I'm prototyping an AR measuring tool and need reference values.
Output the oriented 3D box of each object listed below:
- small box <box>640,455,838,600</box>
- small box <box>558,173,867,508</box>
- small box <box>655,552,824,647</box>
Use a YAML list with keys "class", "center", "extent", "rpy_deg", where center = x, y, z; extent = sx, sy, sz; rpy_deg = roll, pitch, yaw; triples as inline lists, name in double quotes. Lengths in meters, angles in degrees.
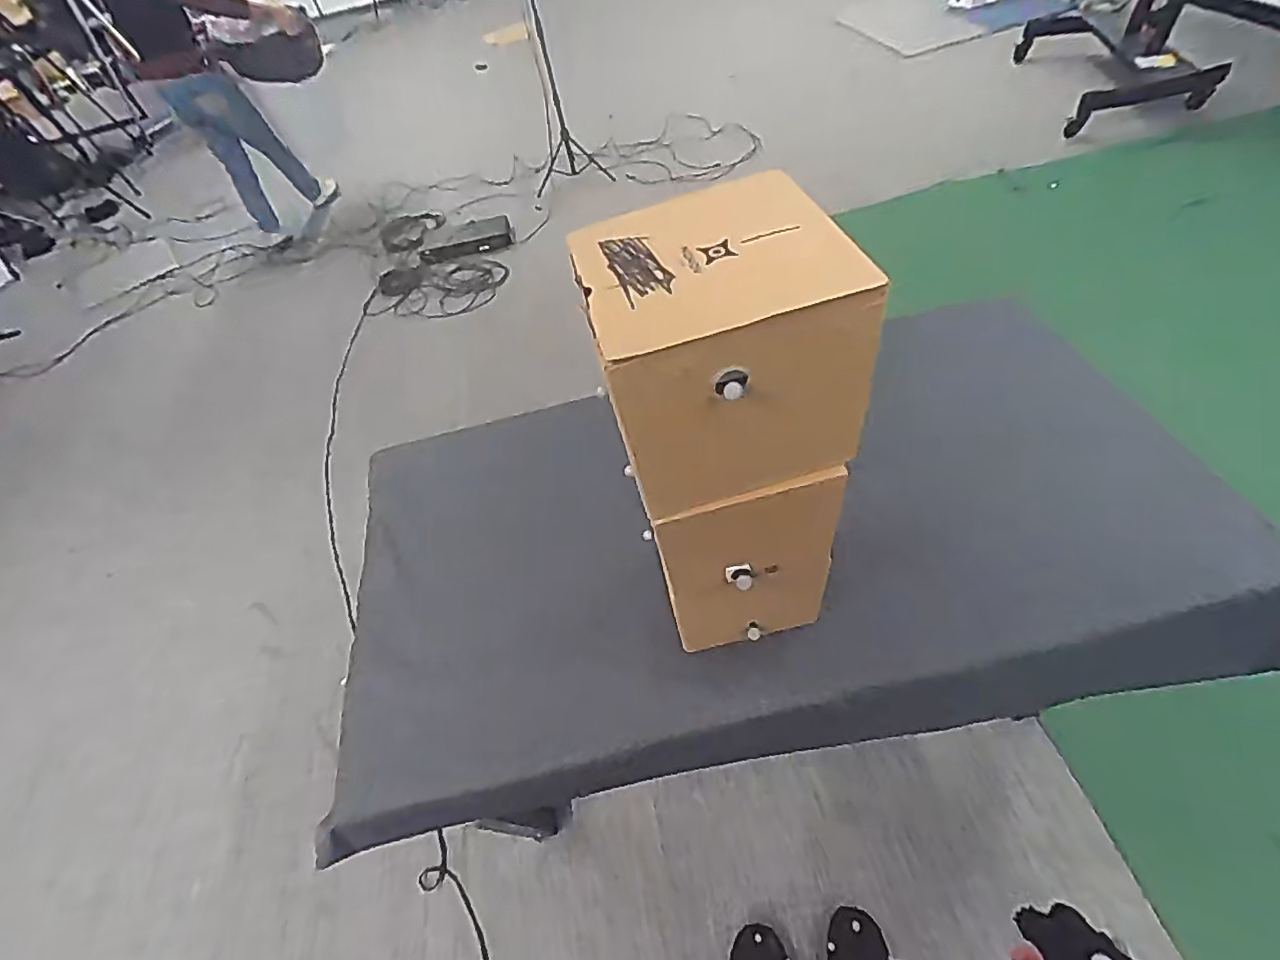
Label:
- class: "small box"
  center: [0.082, -0.003, 0.554]
  extent: [0.168, 0.176, 0.179]
  rpy_deg: [-15, 54, 2]
- class: "small box"
  center: [0.050, -0.100, 0.425]
  extent: [0.179, 0.176, 0.168]
  rpy_deg: [-16, 52, 1]
- class: "small box"
  center: [0.109, 0.091, 0.683]
  extent: [0.179, 0.176, 0.168]
  rpy_deg: [-13, 52, 1]
